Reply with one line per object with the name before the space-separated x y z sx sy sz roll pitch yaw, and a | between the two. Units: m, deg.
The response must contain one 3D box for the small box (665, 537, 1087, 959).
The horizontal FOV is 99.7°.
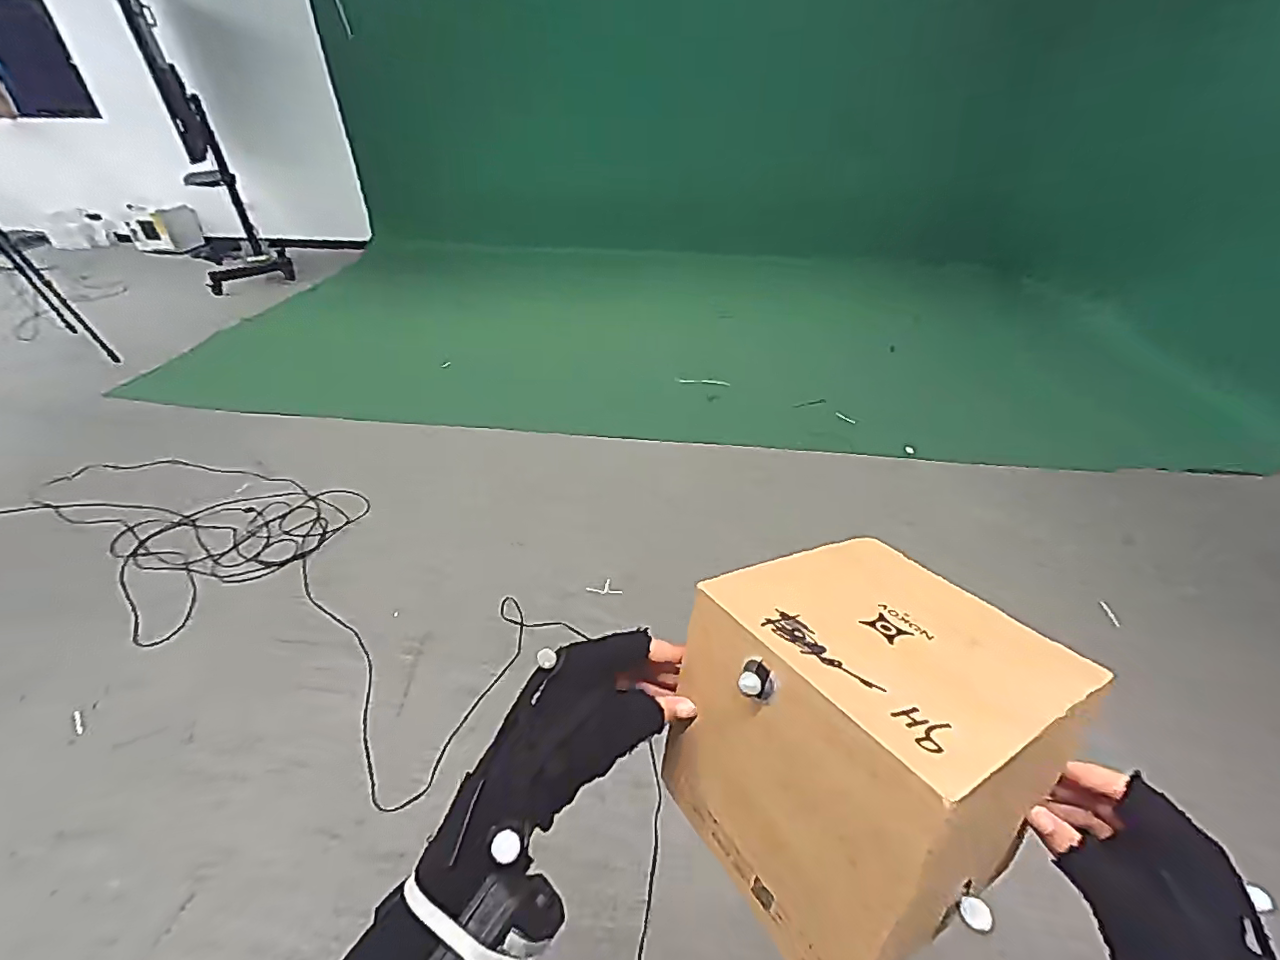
small box | 0.136 0.159 0.358 0.179 0.176 0.168 -7 26 -32
